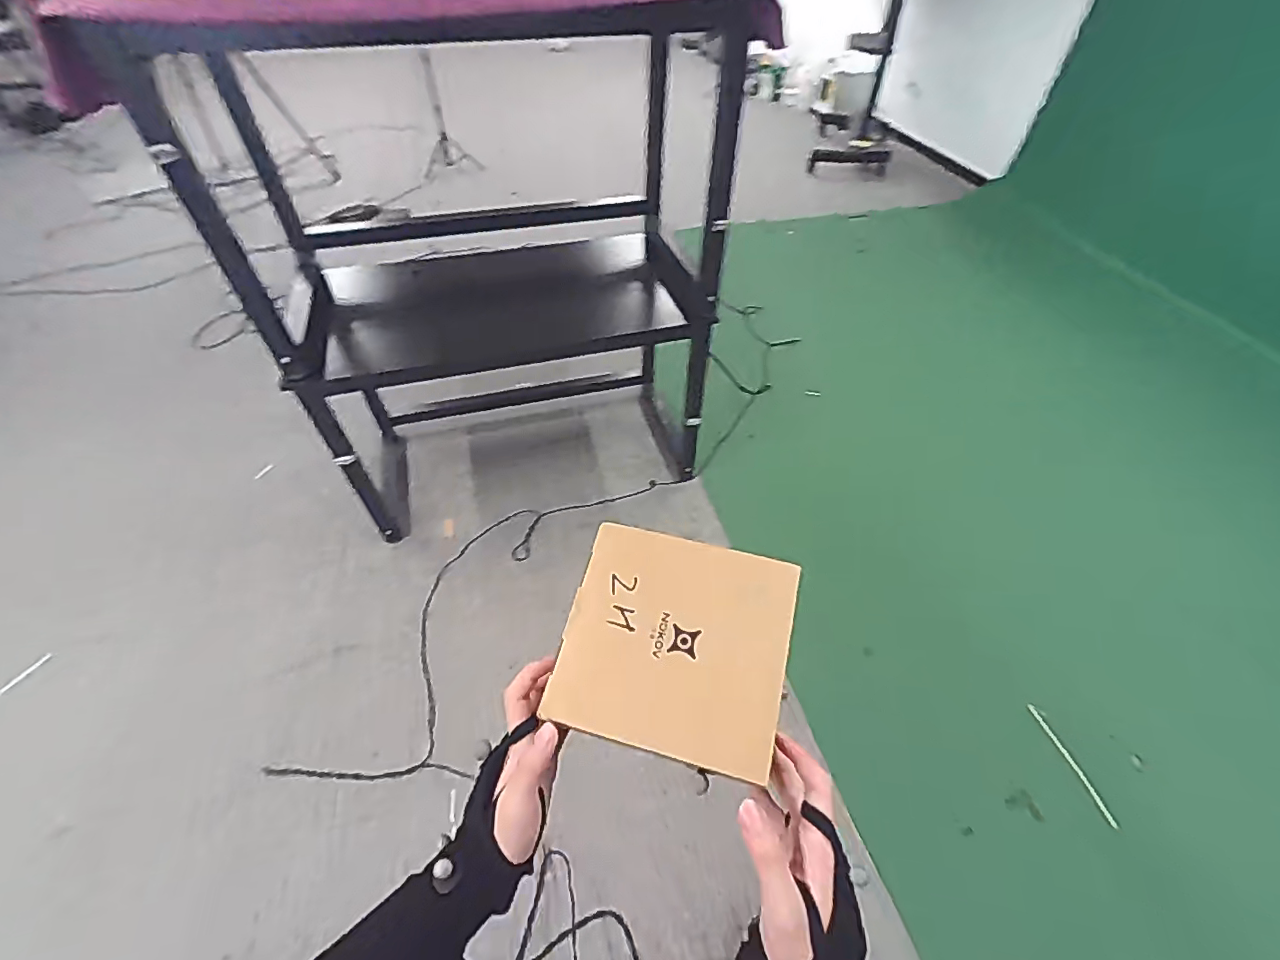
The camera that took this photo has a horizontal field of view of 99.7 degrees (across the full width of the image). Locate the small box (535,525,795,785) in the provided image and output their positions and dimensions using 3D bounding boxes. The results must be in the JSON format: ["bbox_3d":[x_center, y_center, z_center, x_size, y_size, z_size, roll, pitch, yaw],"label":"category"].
[{"bbox_3d":[0.031,0.162,0.495,0.179,0.176,0.168,11,63,12],"label":"small box"}]
